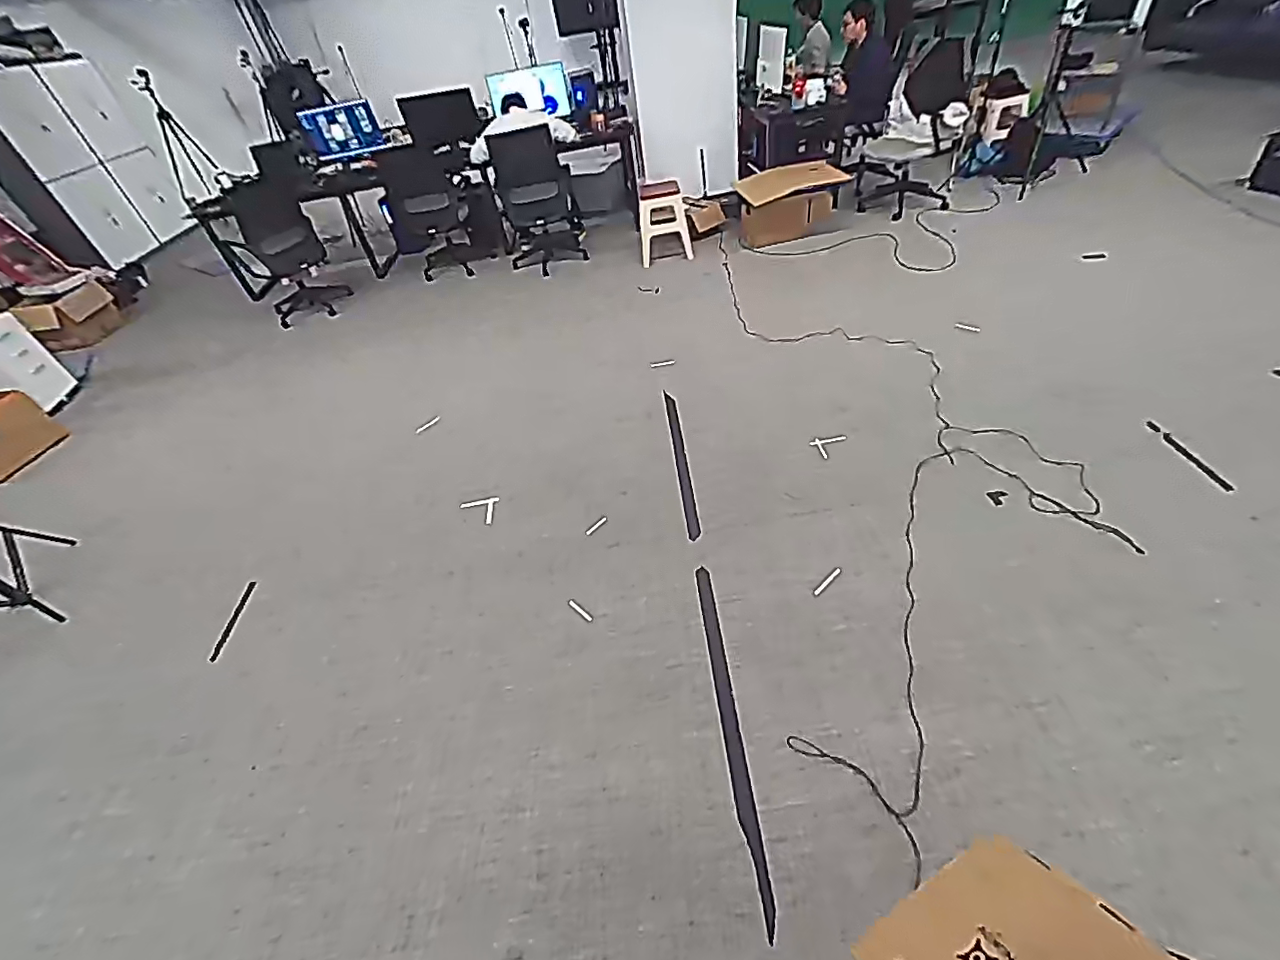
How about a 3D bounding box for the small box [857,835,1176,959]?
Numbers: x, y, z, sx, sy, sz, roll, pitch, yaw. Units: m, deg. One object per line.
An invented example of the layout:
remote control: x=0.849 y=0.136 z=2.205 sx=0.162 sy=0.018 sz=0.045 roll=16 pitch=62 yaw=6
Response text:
small box: x=0.315 y=0.437 z=0.418 sx=0.179 sy=0.168 sz=0.176 roll=-30 pitch=85 yaw=-7
